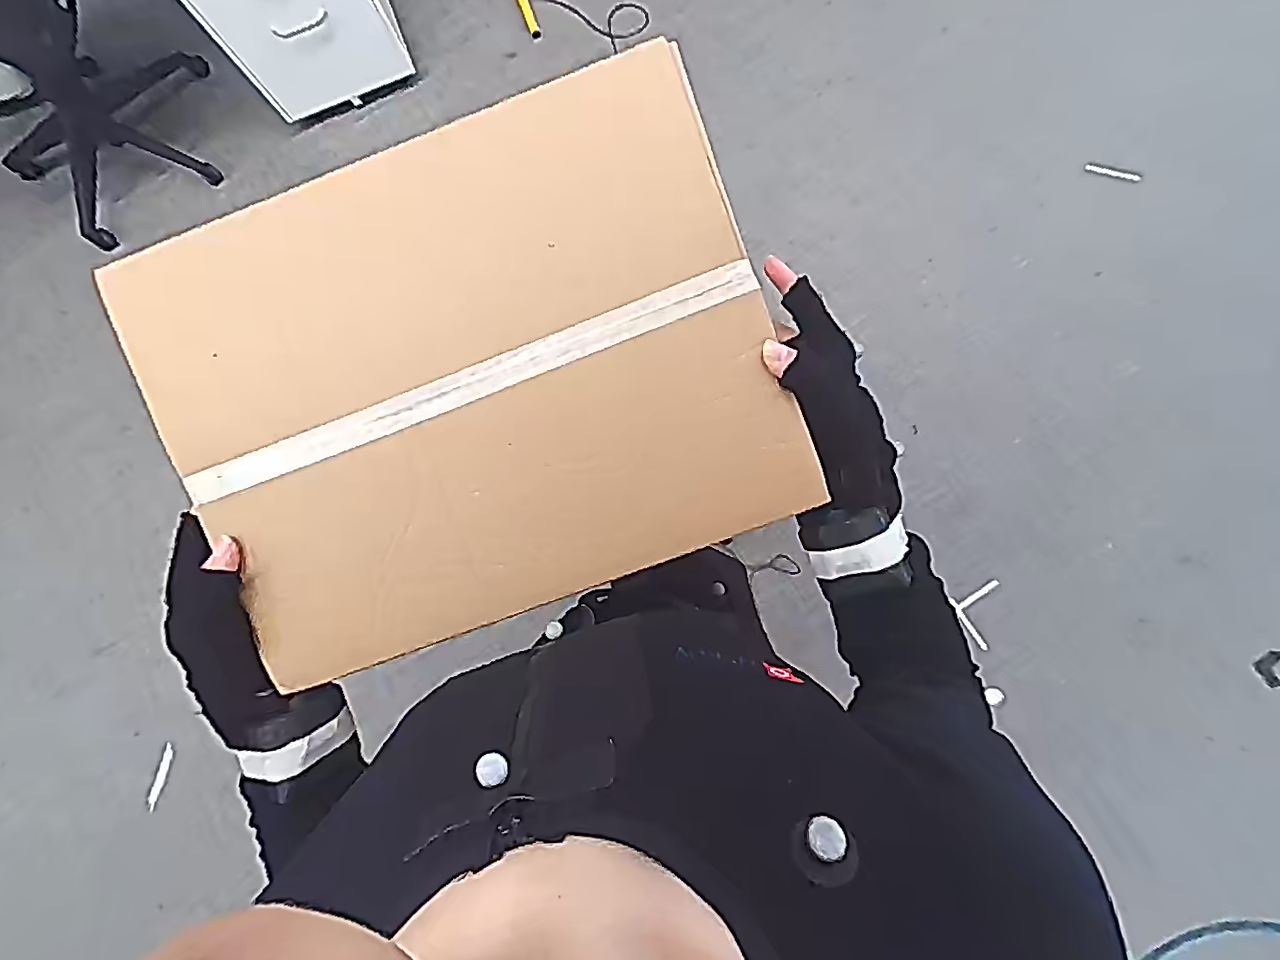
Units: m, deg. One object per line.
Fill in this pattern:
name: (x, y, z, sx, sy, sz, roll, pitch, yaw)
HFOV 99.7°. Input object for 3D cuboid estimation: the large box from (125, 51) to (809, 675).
large box: (-0.113, -0.083, 0.520, 0.408, 0.320, 0.320, -20, 94, 3)
